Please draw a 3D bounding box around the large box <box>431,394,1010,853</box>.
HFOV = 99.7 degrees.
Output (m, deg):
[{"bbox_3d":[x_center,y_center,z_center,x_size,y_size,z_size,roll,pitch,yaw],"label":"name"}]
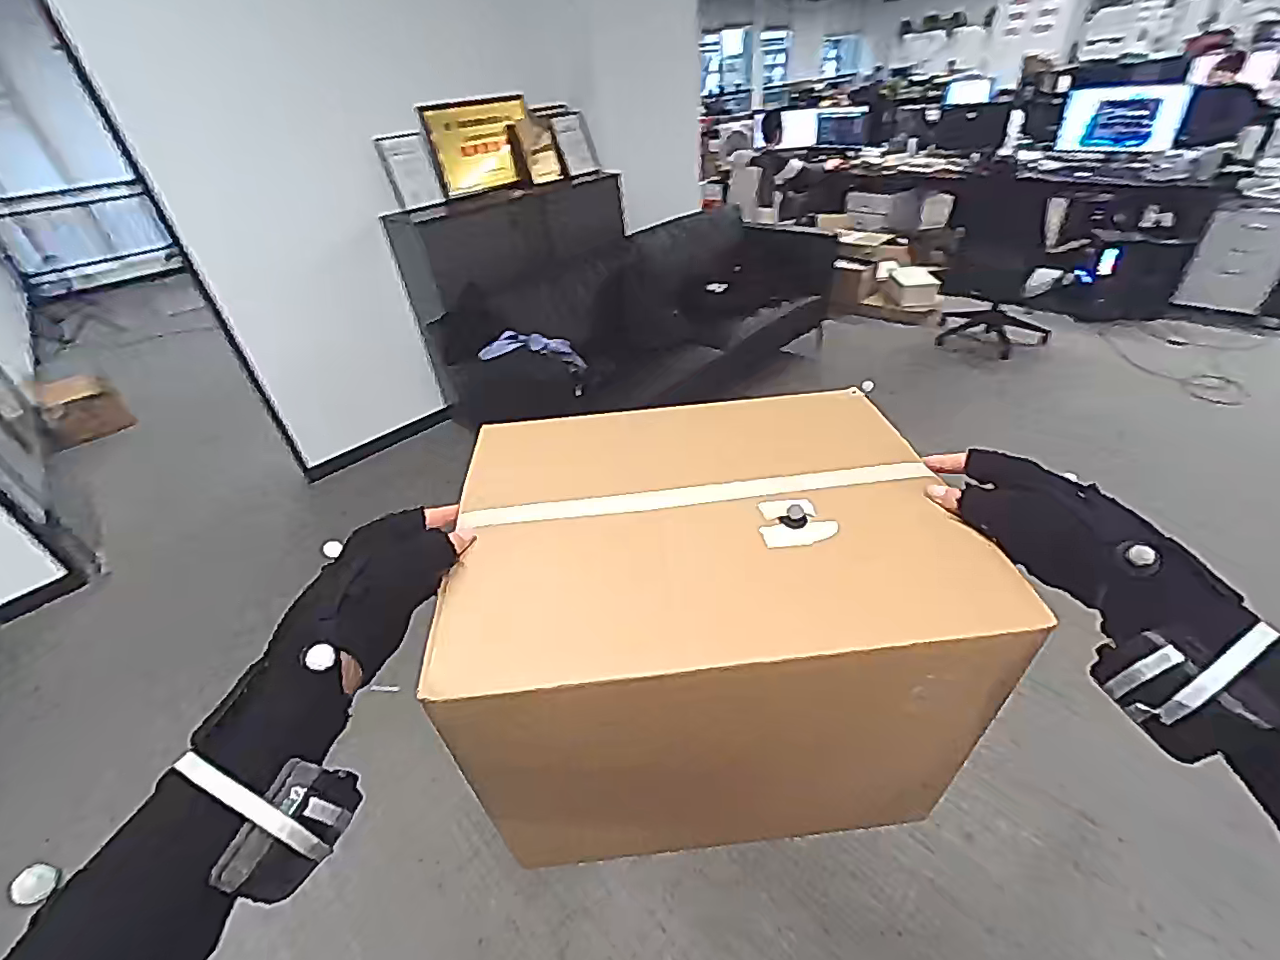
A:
[{"bbox_3d":[0.049,0.135,0.563,0.408,0.320,0.320,-6,39,-3],"label":"large box"}]
